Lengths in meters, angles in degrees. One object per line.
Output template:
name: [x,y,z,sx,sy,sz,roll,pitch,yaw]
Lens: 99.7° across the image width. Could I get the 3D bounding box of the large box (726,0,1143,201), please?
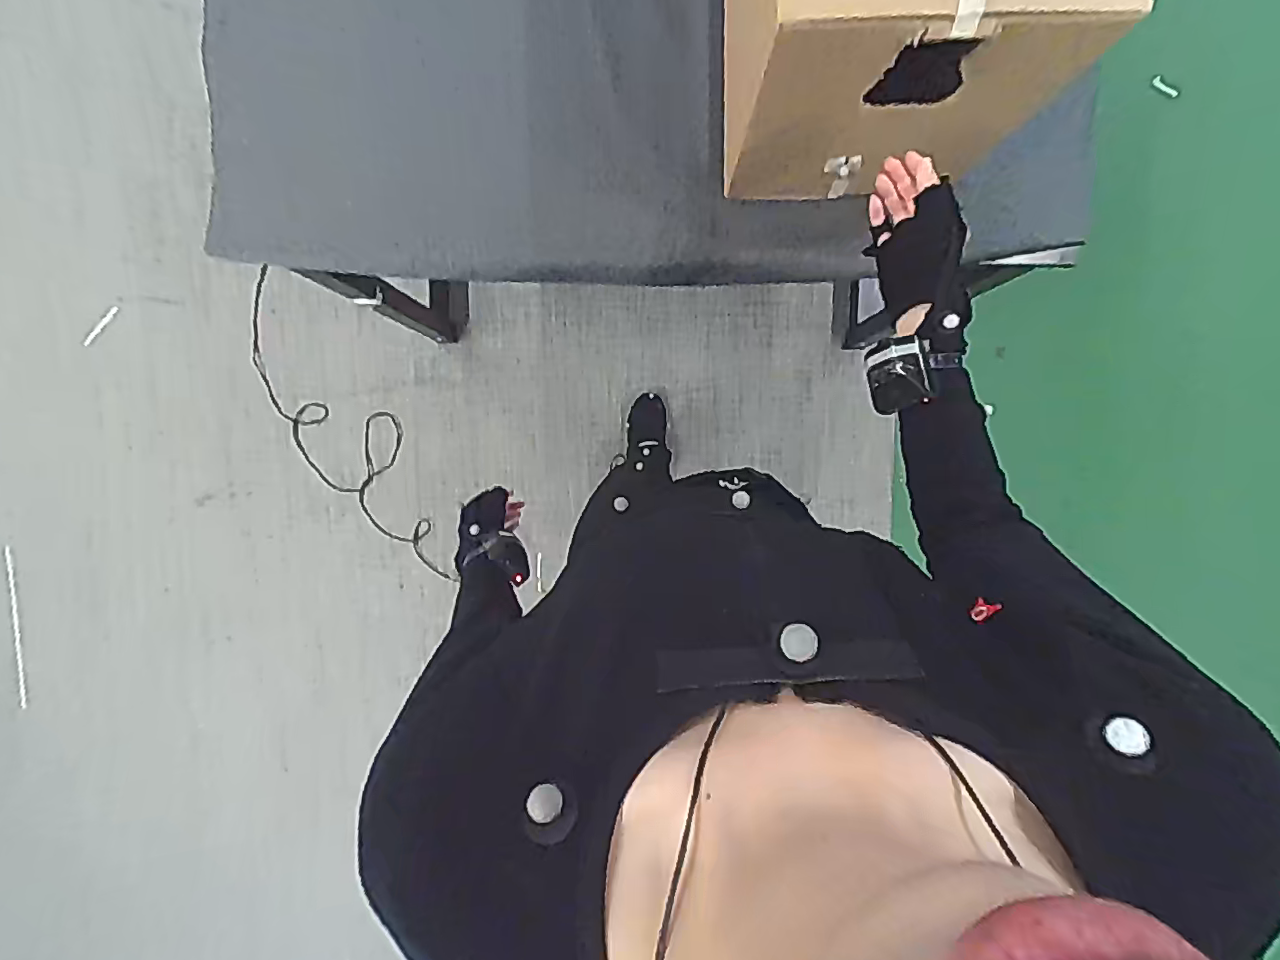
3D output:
large box: [0.264,-0.584,0.595,0.320,0.320,0.408,-1,91,1]
